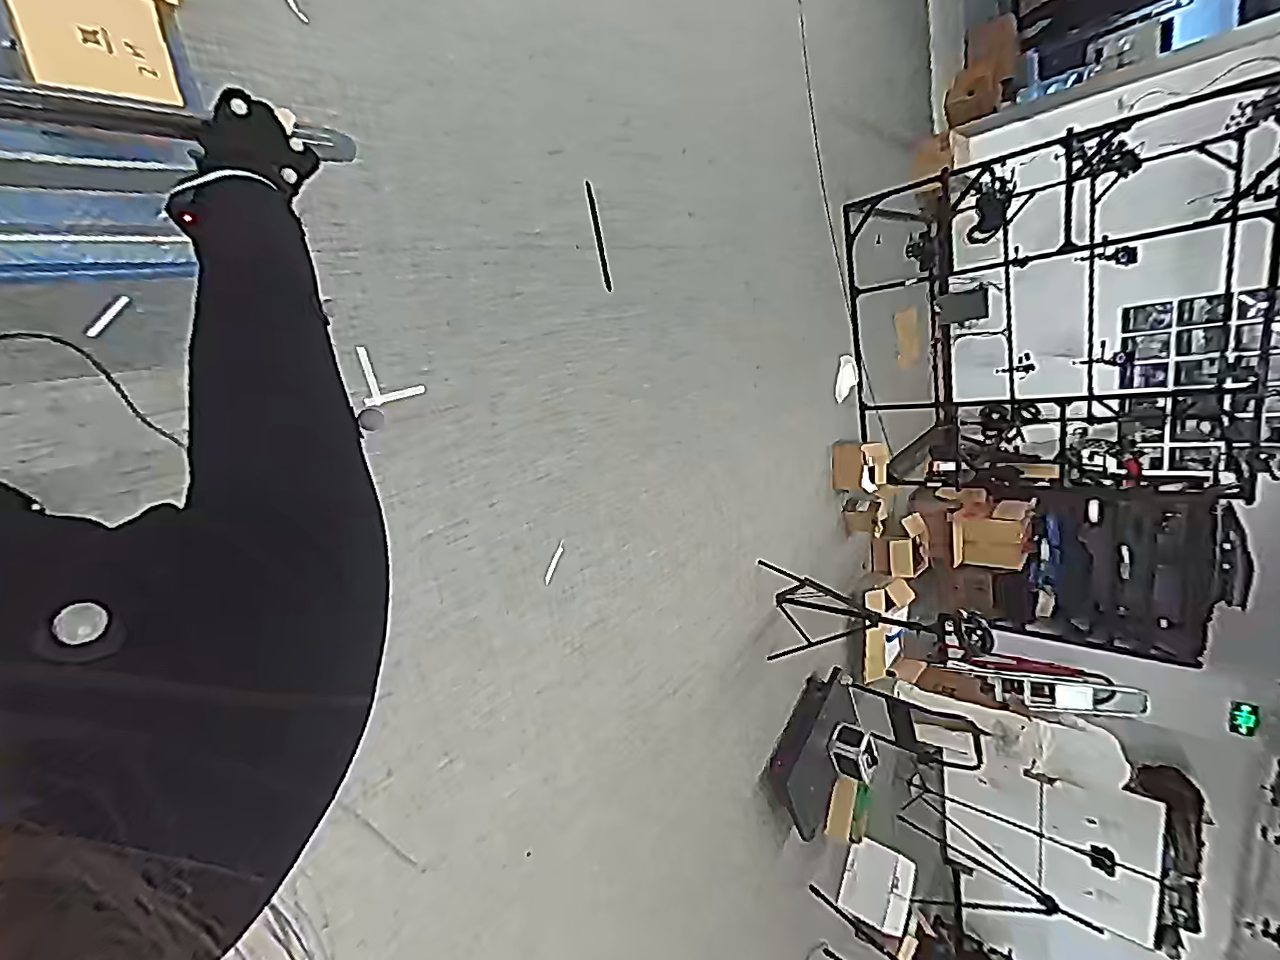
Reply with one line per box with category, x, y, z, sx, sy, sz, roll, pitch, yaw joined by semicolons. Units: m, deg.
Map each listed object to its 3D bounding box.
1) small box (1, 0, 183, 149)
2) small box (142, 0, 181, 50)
small box;-0.886;-0.668;0.879;0.179;0.176;0.168;-20;107;-44
small box;-0.864;-0.871;0.891;0.168;0.176;0.179;11;85;-47
